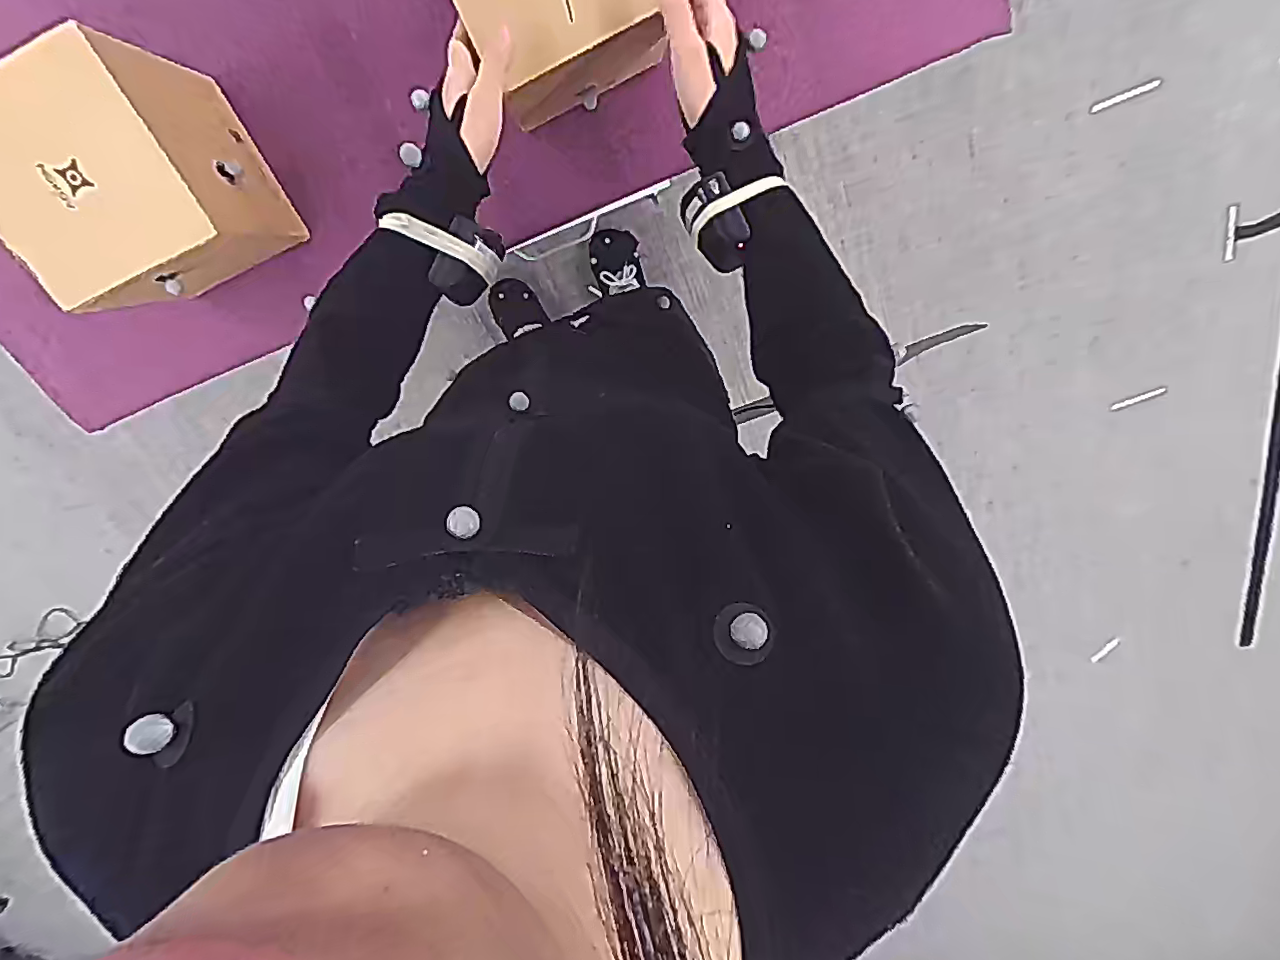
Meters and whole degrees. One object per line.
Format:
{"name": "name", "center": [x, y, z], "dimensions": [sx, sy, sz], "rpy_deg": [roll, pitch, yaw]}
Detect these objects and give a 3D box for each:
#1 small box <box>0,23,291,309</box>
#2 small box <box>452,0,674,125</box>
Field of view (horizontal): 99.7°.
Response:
{"name": "small box", "center": [-0.486, -0.289, 0.529], "dimensions": [0.179, 0.176, 0.168], "rpy_deg": [-22, 114, 7]}
{"name": "small box", "center": [-0.085, -0.452, 0.475], "dimensions": [0.168, 0.176, 0.179], "rpy_deg": [-23, 115, 7]}
